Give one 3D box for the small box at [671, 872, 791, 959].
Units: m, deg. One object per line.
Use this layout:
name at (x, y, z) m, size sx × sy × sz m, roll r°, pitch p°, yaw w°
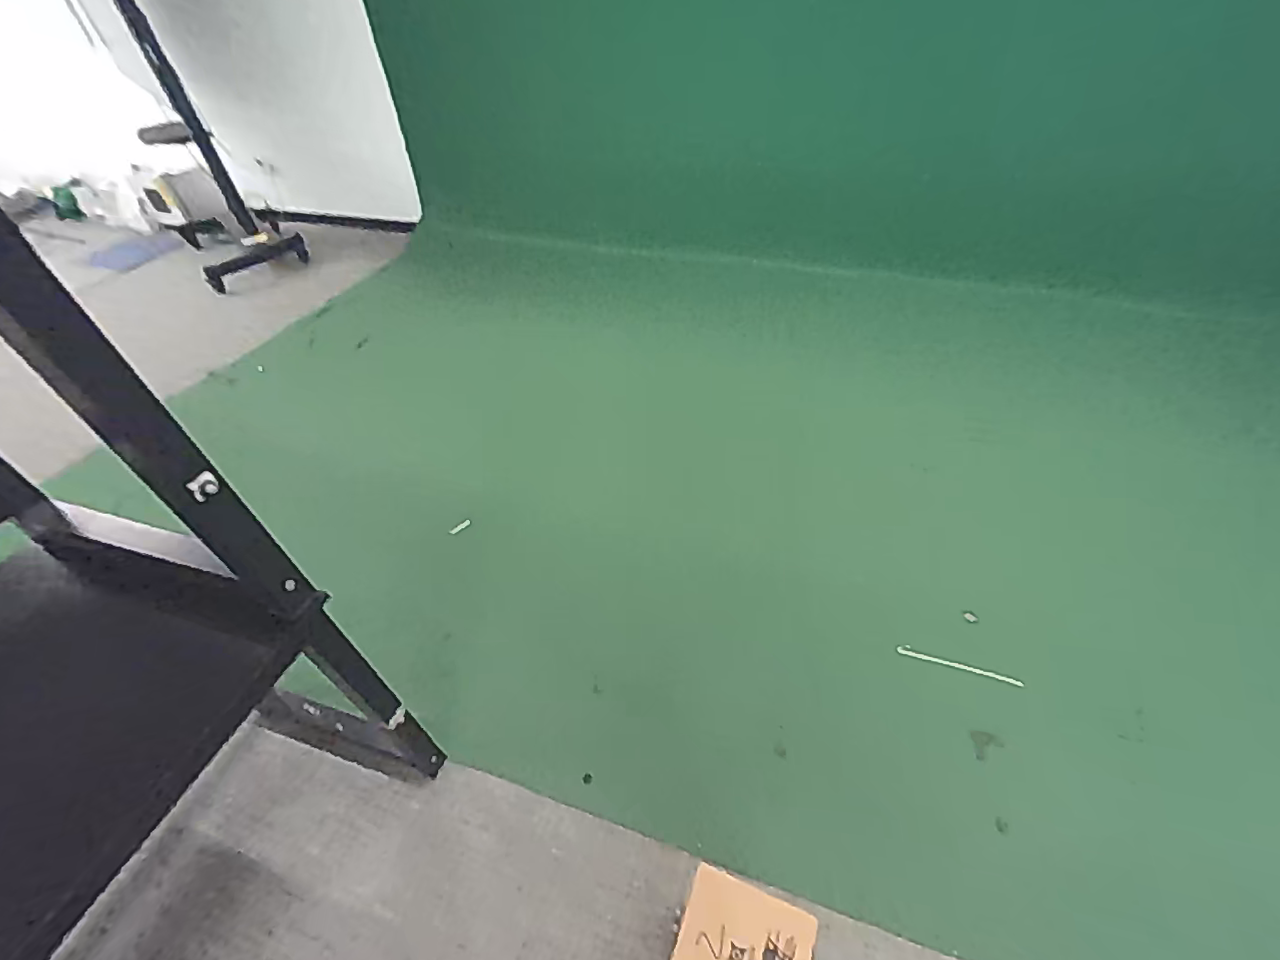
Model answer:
small box at (0.139, 0.792, 0.889) m, size 0.168 × 0.176 × 0.179 m, roll 14°, pitch 47°, yaw 15°
